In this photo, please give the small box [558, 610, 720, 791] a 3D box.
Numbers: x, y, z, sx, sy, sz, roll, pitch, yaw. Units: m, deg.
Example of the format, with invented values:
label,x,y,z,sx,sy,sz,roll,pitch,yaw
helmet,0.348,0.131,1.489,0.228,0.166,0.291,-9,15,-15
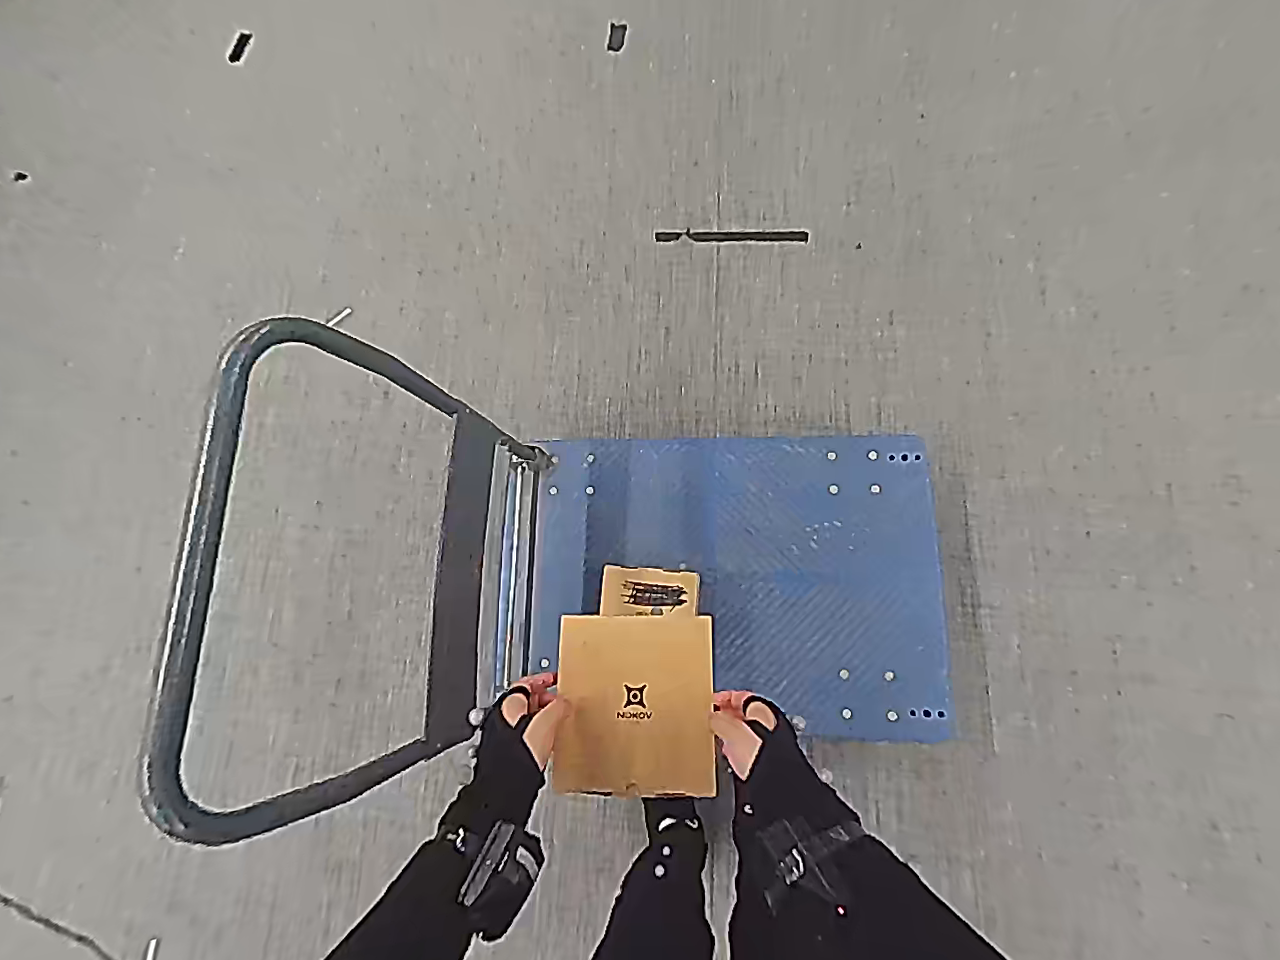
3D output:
label,x,y,z,sx,sy,sz,roll,pitch,yaw
small box,0.002,0.250,0.640,0.168,0.176,0.179,0,73,2
